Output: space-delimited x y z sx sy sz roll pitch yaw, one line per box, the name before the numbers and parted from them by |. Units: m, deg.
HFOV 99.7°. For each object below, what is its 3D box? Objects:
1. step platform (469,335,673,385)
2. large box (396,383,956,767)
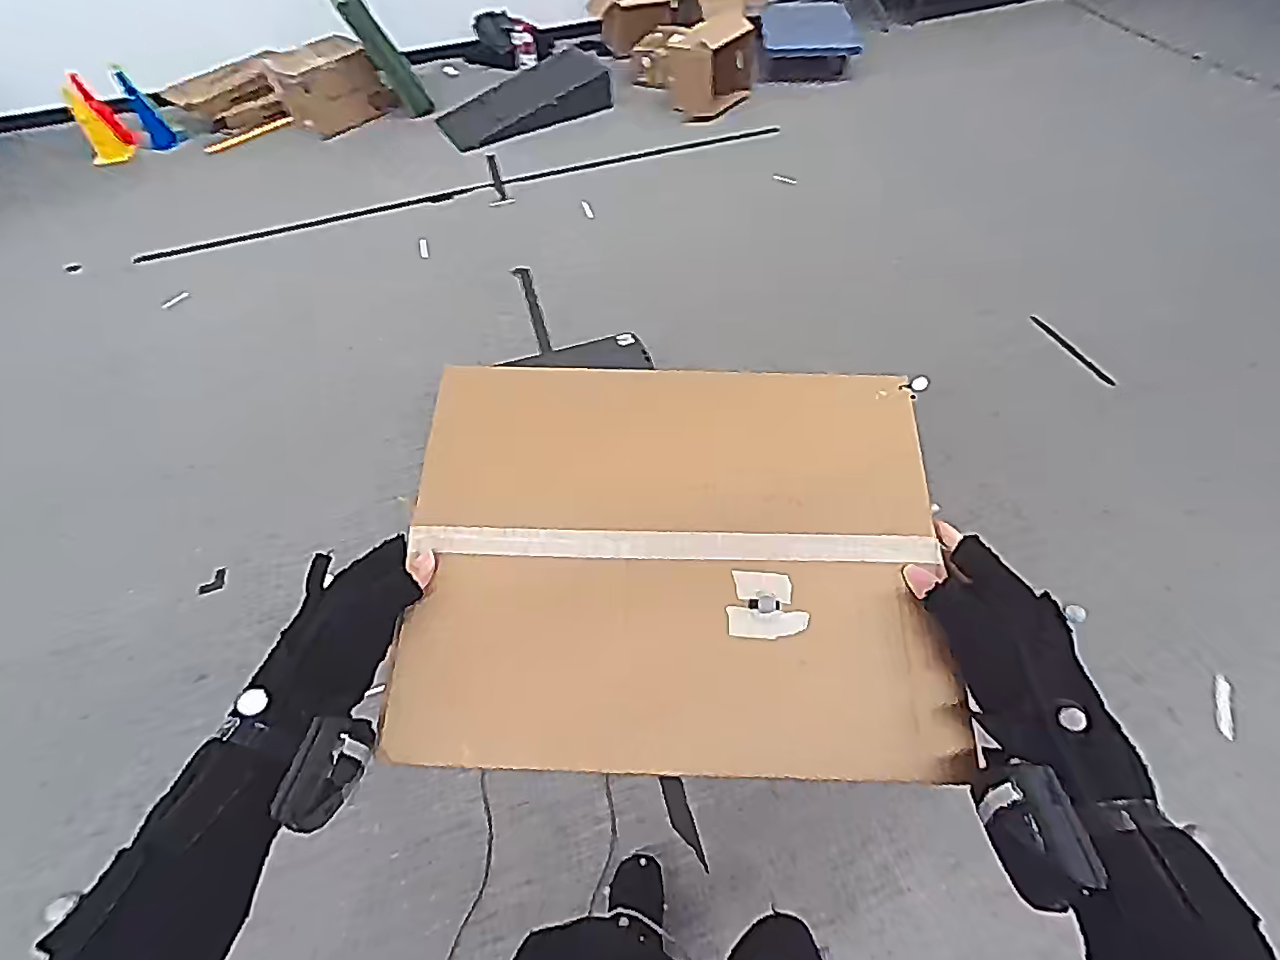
step platform | -0.227 -0.270 1.832 0.684 0.204 0.286 -16 56 -8
large box | 0.025 0.111 0.570 0.408 0.320 0.320 1 69 1
